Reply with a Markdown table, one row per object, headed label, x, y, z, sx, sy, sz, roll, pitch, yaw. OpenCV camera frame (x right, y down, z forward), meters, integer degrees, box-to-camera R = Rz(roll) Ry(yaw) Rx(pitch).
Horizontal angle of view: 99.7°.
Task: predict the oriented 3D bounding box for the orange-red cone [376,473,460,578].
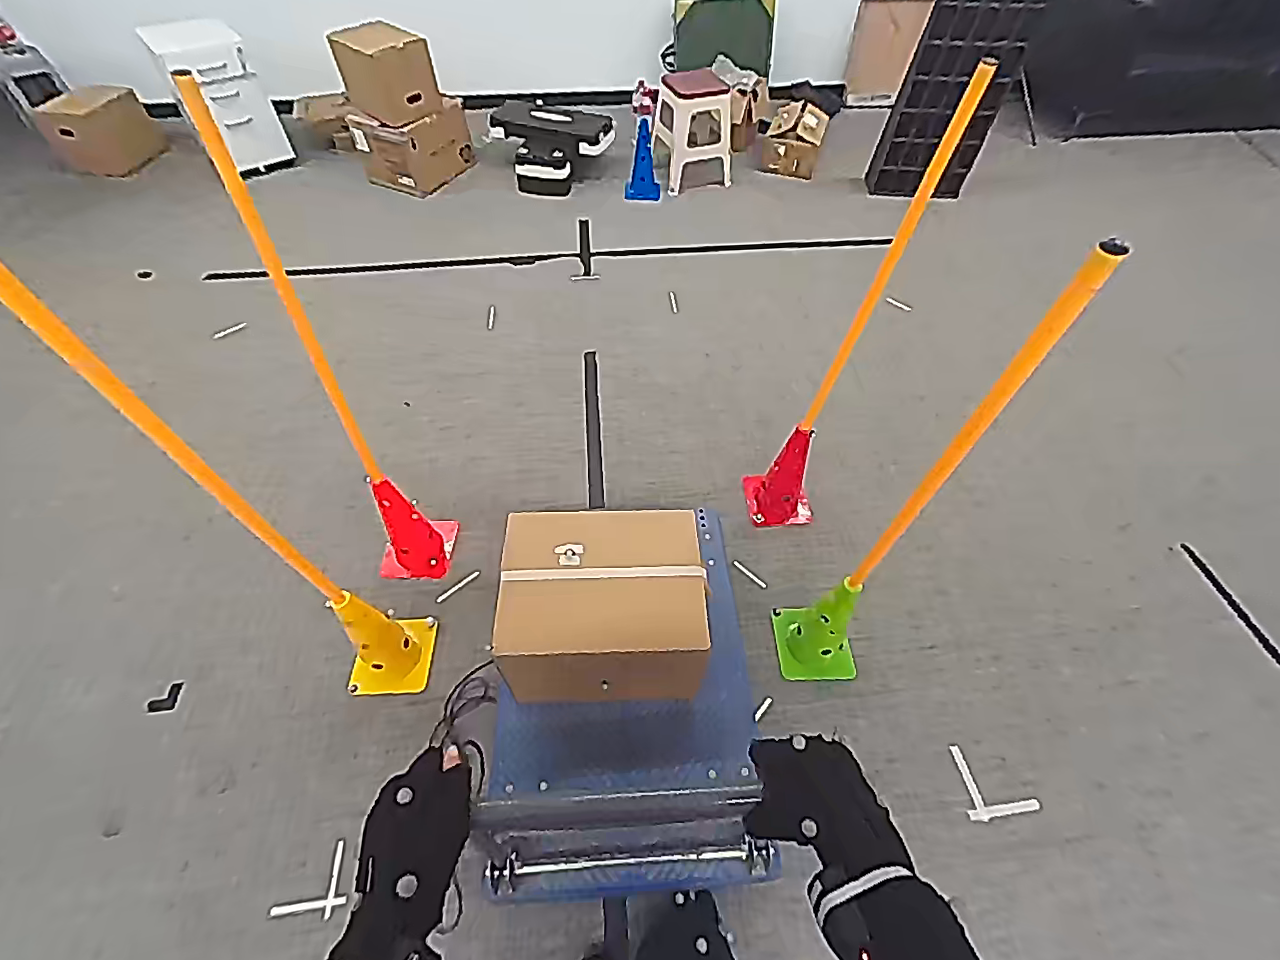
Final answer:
| label | x | y | z | sx | sy | sz | roll | pitch | yaw |
| --- | --- | --- | --- | --- | --- | --- | --- | --- | --- |
| orange-red cone | -0.663 | 0.102 | 1.521 | 0.198 | 0.360 | 0.199 | 3 | 52 | 0 |

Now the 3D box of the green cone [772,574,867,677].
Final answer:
| label | x | y | z | sx | sy | sz | roll | pitch | yaw |
| --- | --- | --- | --- | --- | --- | --- | --- | --- | --- |
| green cone | 0.479 | 0.339 | 1.352 | 0.202 | 0.368 | 0.200 | 0 | 53 | -2 |

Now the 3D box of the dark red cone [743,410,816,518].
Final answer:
| label | x | y | z | sx | sy | sz | roll | pitch | yaw |
| --- | --- | --- | --- | --- | --- | --- | --- | --- | --- |
| dark red cone | 0.454 | -0.059 | 1.630 | 0.201 | 0.394 | 0.202 | -3 | 53 | -5 |

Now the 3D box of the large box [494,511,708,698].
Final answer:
| label | x | y | z | sx | sy | sz | roll | pitch | yaw |
| --- | --- | --- | --- | --- | --- | --- | --- | --- | --- |
| large box | -0.076 | 0.285 | 1.206 | 0.408 | 0.320 | 0.320 | -1 | 53 | -1 |
